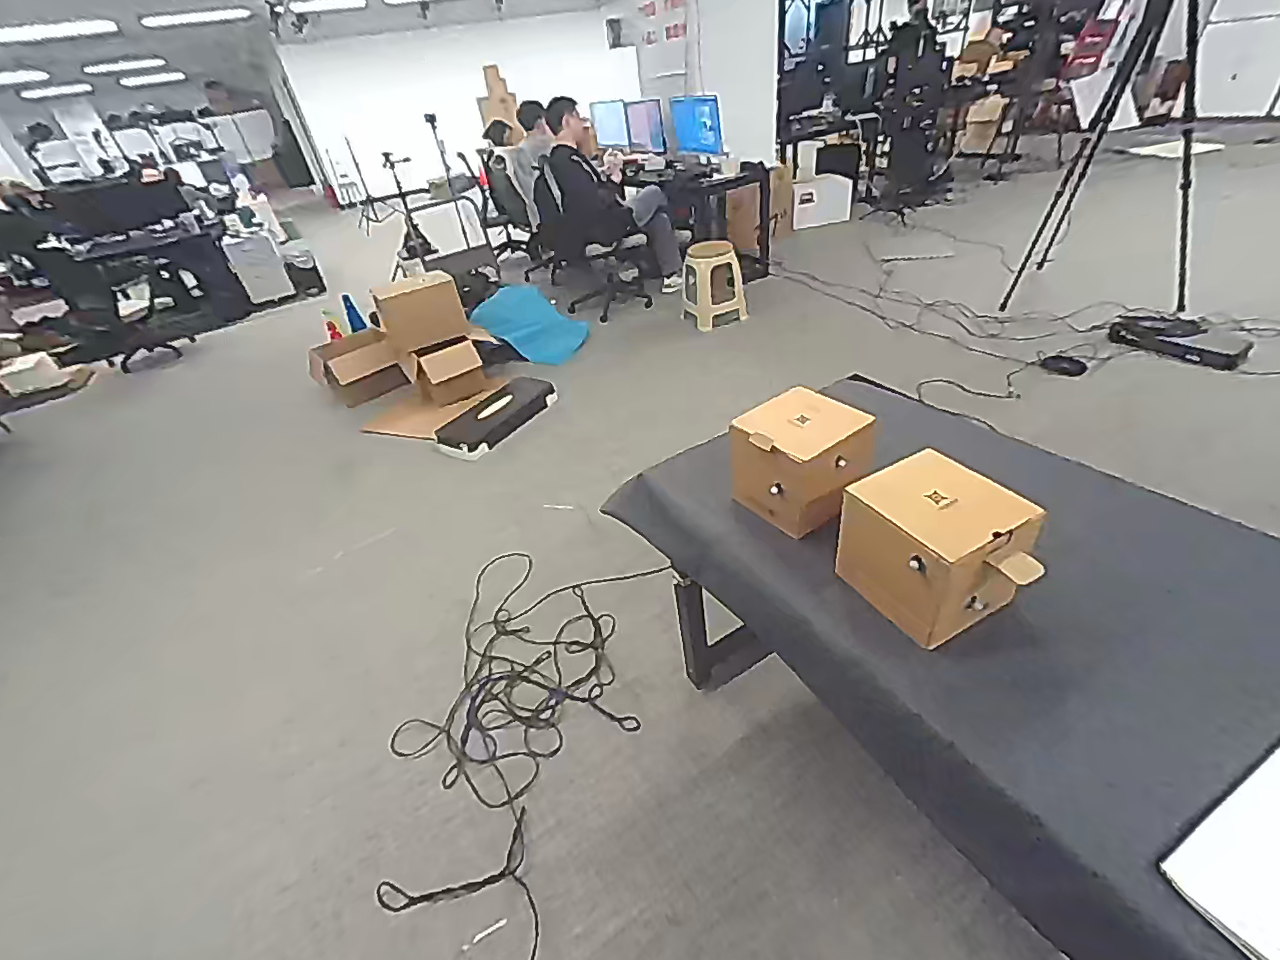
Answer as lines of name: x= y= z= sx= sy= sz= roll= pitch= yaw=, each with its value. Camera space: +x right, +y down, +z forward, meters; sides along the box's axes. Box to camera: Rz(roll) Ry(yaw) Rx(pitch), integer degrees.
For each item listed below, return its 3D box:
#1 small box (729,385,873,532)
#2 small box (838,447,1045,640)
small box: x=0.275 y=-0.038 z=0.945 sx=0.179 sy=0.176 sz=0.168 roll=-28 pitch=42 yaw=-24
small box: x=0.400 y=0.085 z=0.754 sx=0.168 sy=0.176 sz=0.179 roll=-22 pitch=39 yaw=-17
